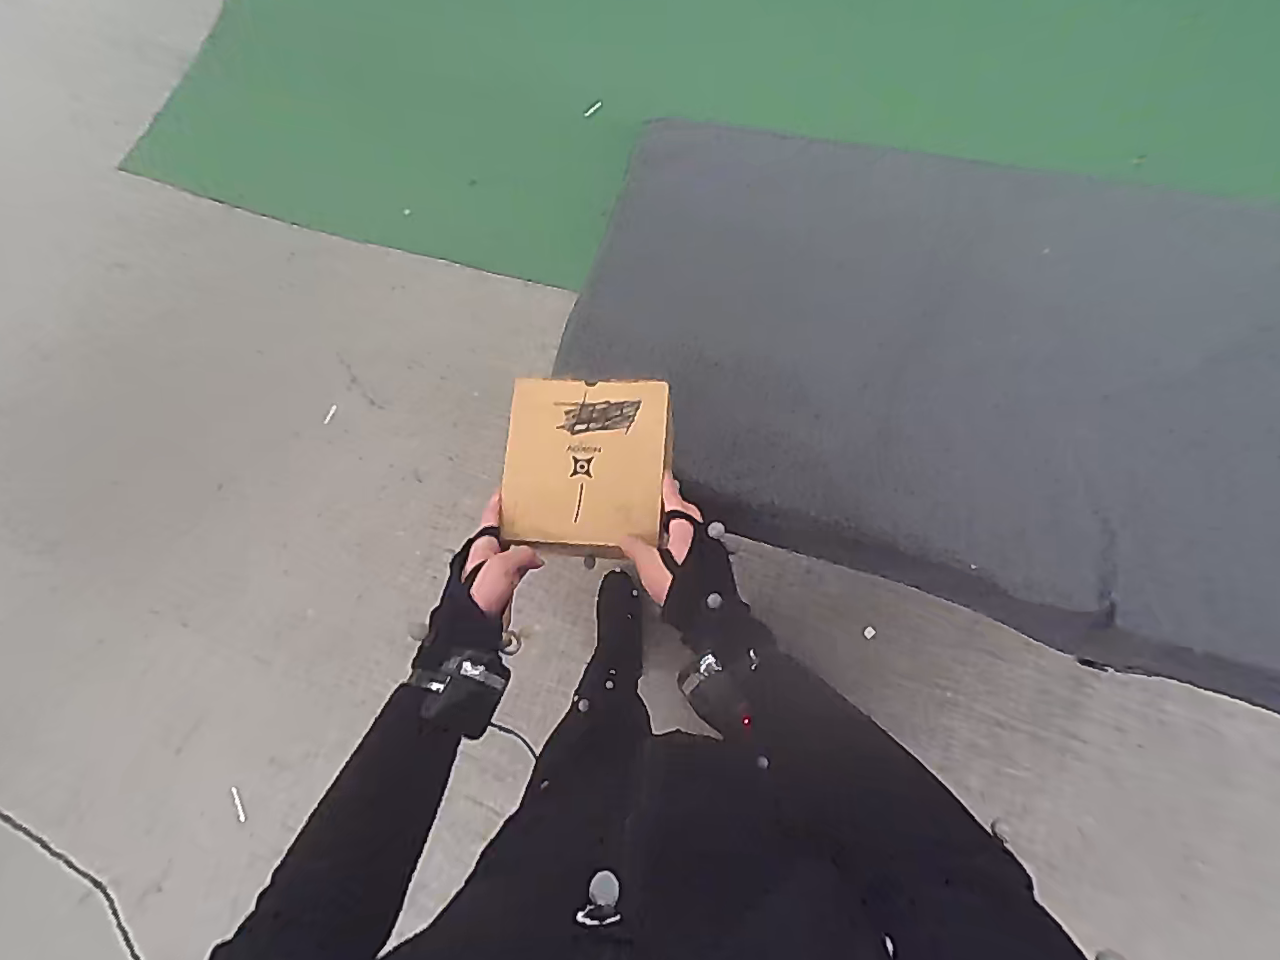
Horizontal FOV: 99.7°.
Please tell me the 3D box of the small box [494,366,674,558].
[{"bbox_3d":[-0.049,-0.012,0.615,0.168,0.176,0.179,3,77,6],"label":"small box"}]
